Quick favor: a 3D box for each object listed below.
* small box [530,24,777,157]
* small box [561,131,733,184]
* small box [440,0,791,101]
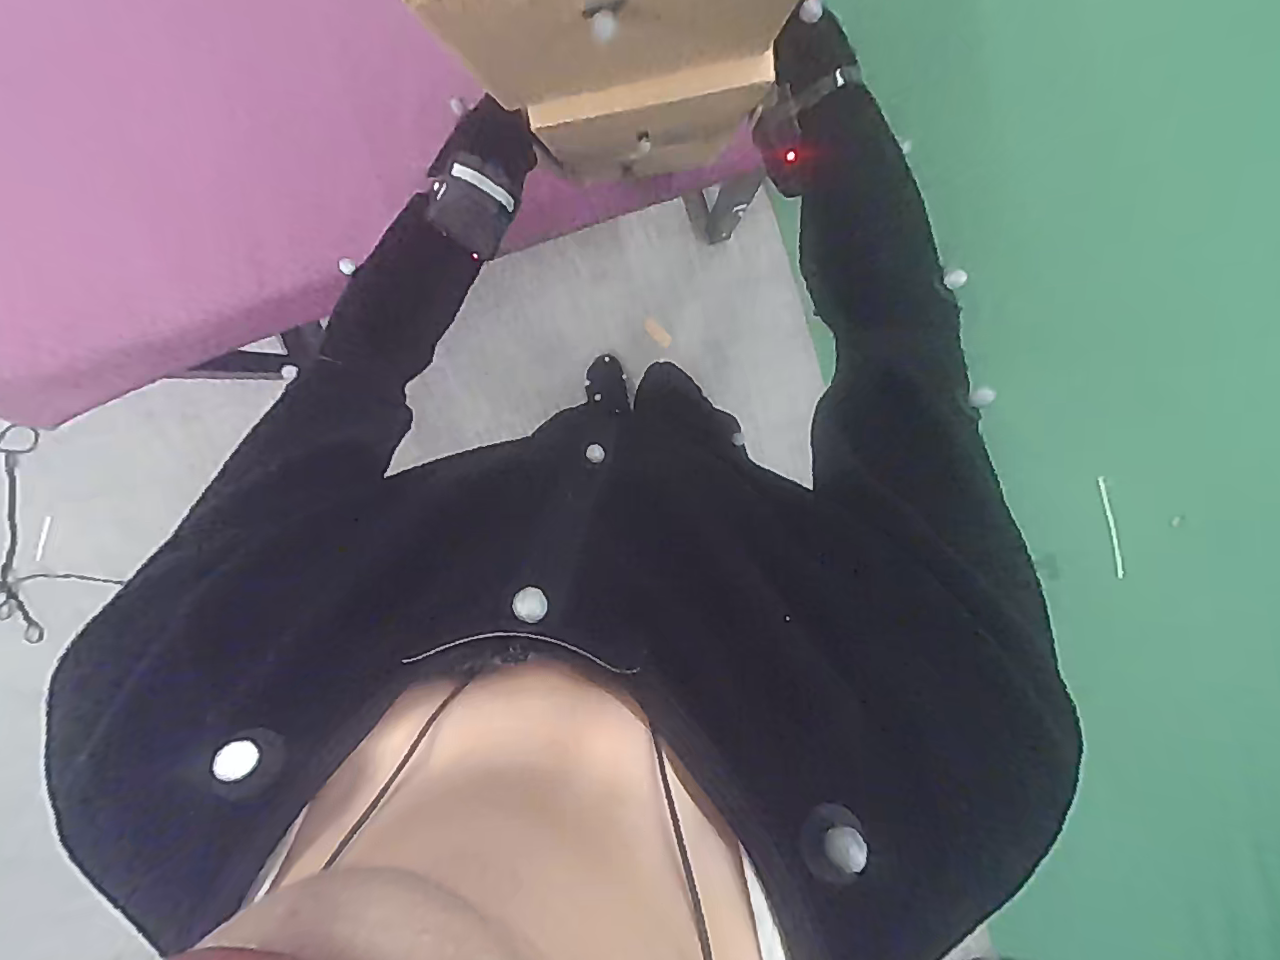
[{"bbox_3d":[-0.001,-0.355,0.399,0.168,0.176,0.179,-8,112,4],"label":"small box"},{"bbox_3d":[-0.001,-0.414,0.553,0.168,0.176,0.179,-7,112,3],"label":"small box"},{"bbox_3d":[-0.014,-0.300,0.245,0.179,0.176,0.168,-10,113,4],"label":"small box"}]
